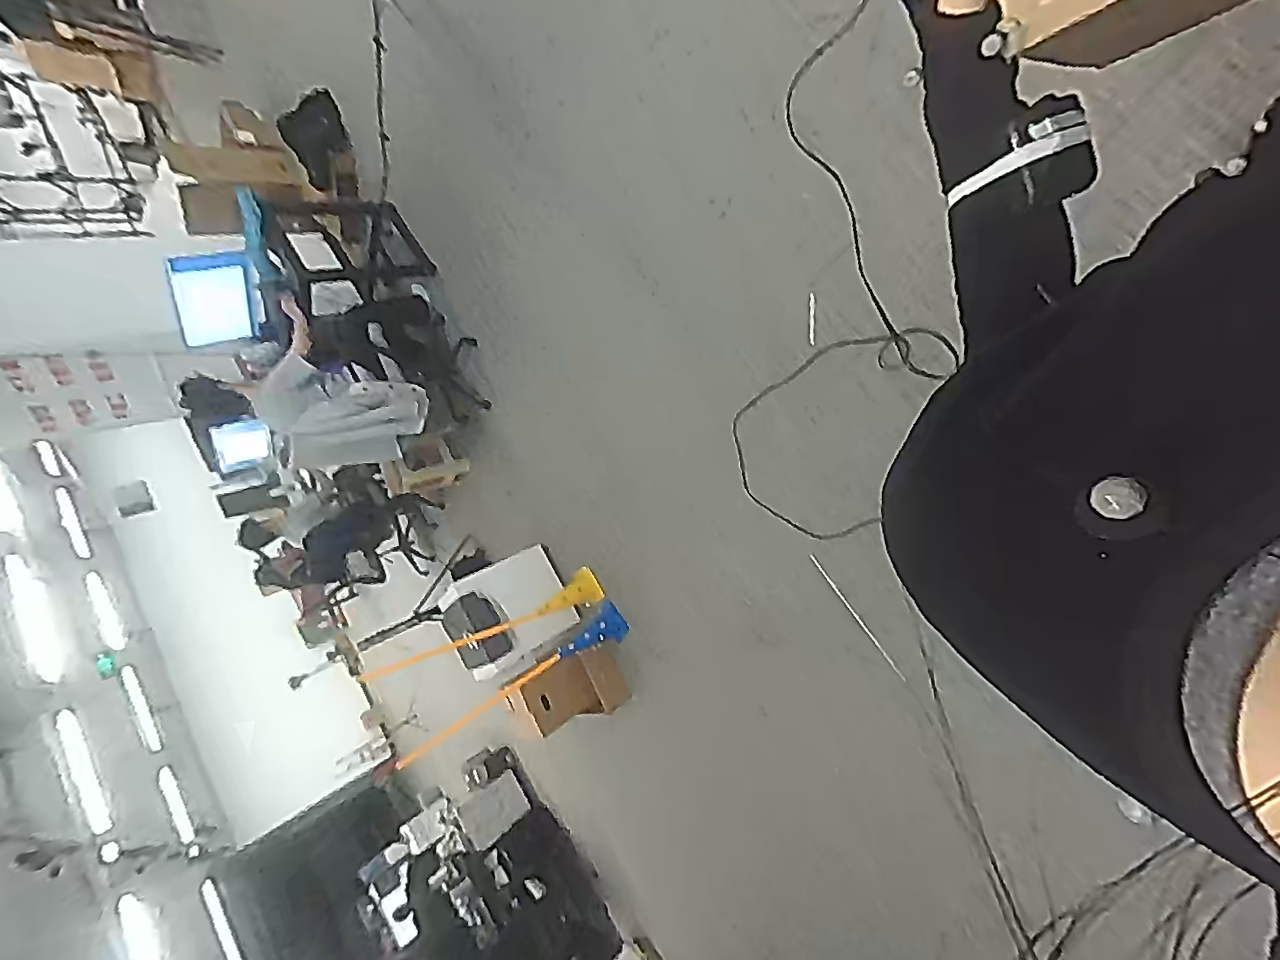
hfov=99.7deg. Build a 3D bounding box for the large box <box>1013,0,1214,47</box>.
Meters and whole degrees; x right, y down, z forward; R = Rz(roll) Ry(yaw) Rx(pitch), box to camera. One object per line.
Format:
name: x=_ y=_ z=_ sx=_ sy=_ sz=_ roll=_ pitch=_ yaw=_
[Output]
large box: x=0.444 y=-0.506 z=0.268 sx=0.408 sy=0.320 sz=0.320 roll=0 pitch=115 yaw=50
